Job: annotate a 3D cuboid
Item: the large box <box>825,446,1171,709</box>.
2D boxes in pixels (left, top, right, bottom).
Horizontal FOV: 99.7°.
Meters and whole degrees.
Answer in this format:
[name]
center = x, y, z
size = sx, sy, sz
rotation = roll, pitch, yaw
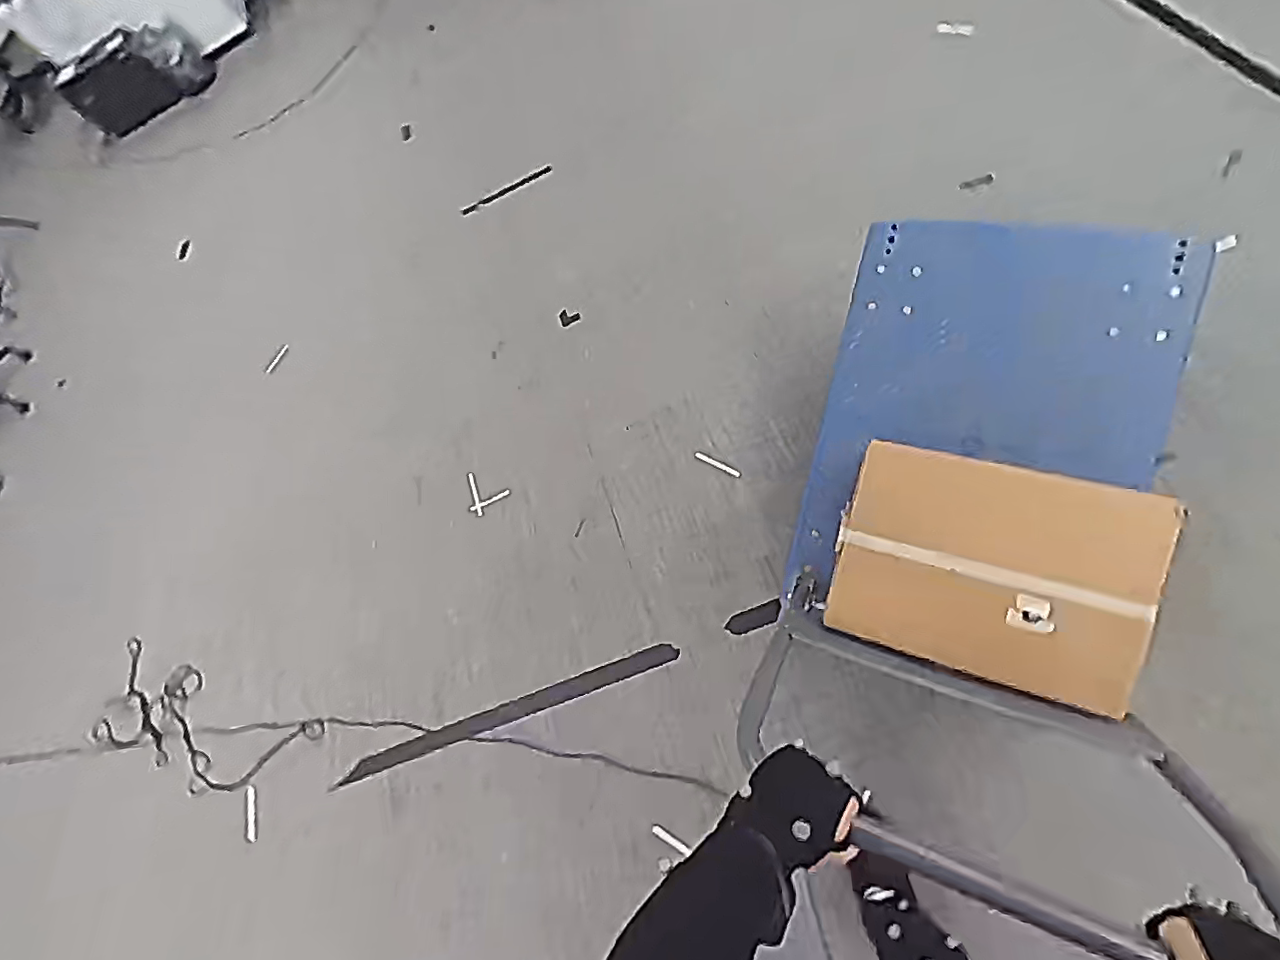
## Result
[large box]
center = 0.568, 0.137, 0.957
size = 0.408, 0.320, 0.320
rotation = 14, 95, 21
